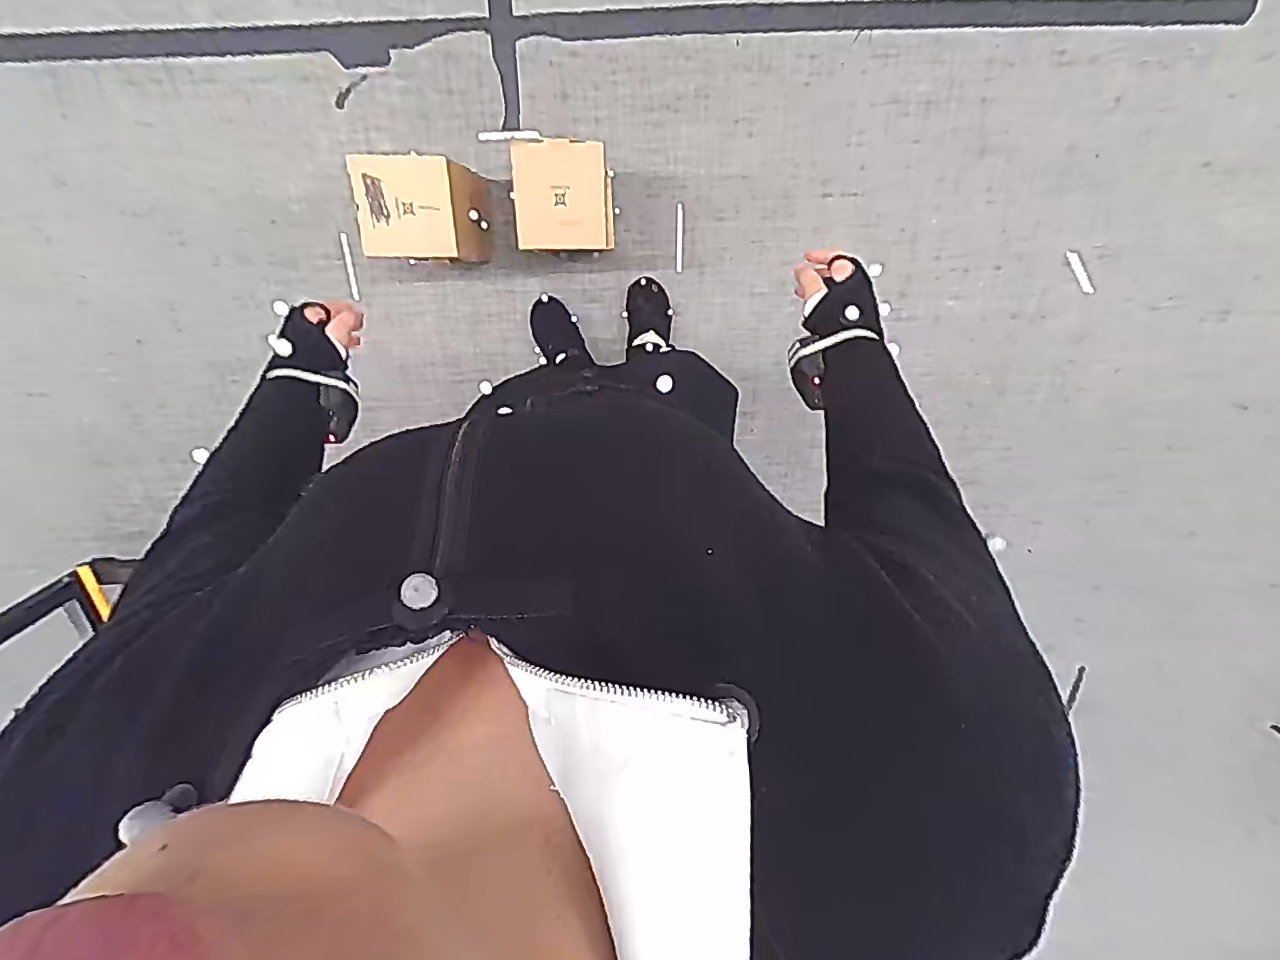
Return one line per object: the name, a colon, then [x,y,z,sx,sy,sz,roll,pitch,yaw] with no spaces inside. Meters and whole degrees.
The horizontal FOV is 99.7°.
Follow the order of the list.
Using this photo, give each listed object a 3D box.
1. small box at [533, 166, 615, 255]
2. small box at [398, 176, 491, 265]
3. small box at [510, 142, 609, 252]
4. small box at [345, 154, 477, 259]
small box: [-0.147,-0.593,1.195,0.179,0.176,0.168,-3,114,-1]
small box: [-0.433,-0.576,1.193,0.168,0.176,0.179,1,114,-1]
small box: [-0.147,-0.538,1.042,0.168,0.176,0.179,-1,115,-1]
small box: [-0.427,-0.517,1.039,0.179,0.176,0.168,0,114,-2]
